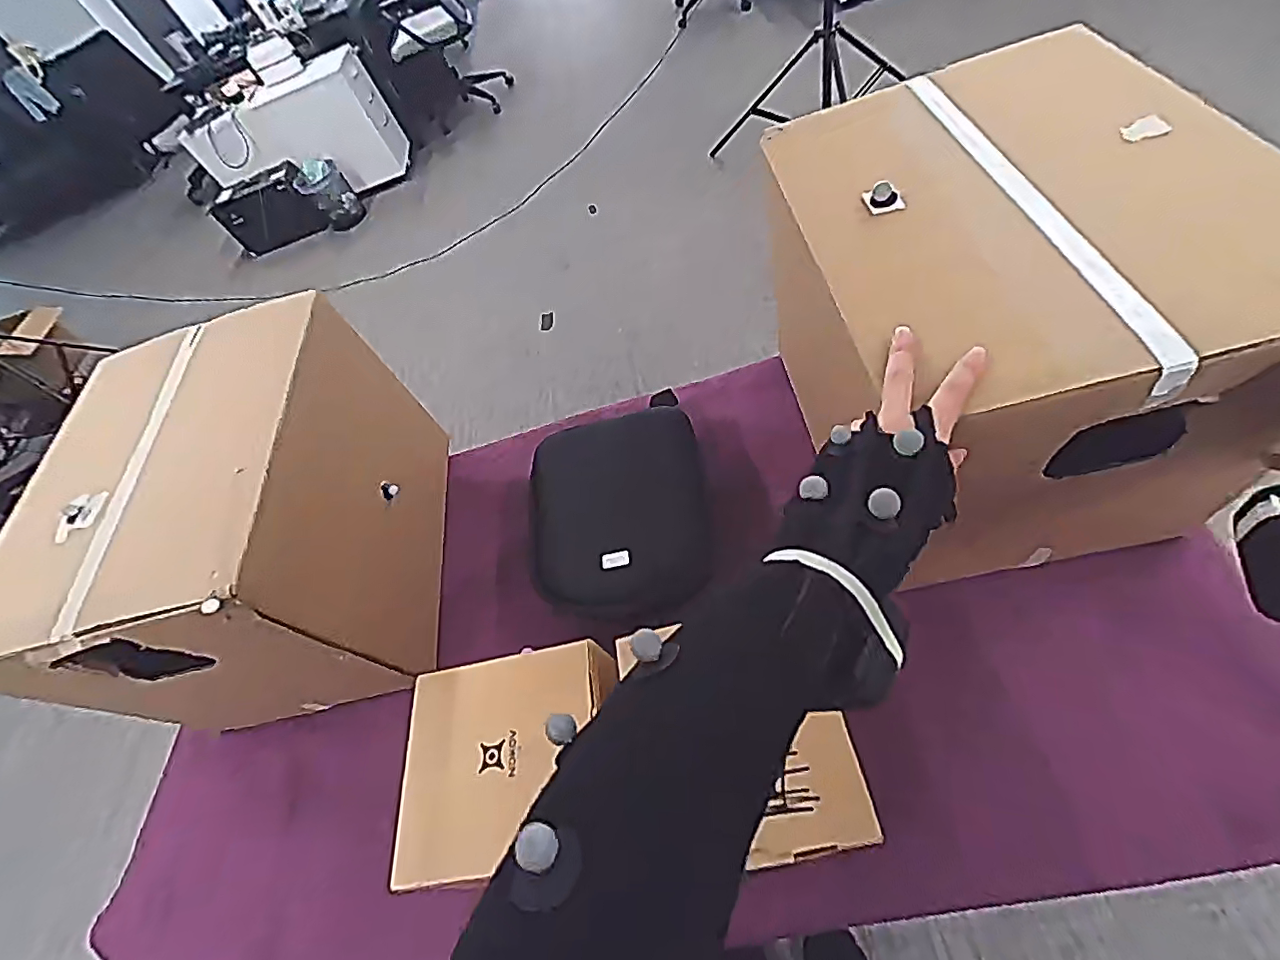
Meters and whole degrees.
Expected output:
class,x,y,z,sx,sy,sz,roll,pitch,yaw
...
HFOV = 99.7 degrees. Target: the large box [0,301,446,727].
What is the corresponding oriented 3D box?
class,x,y,z,sx,sy,sz,roll,pitch,yaw
large box,-0.466,0.055,0.691,0.320,0.320,0.408,-16,57,6
